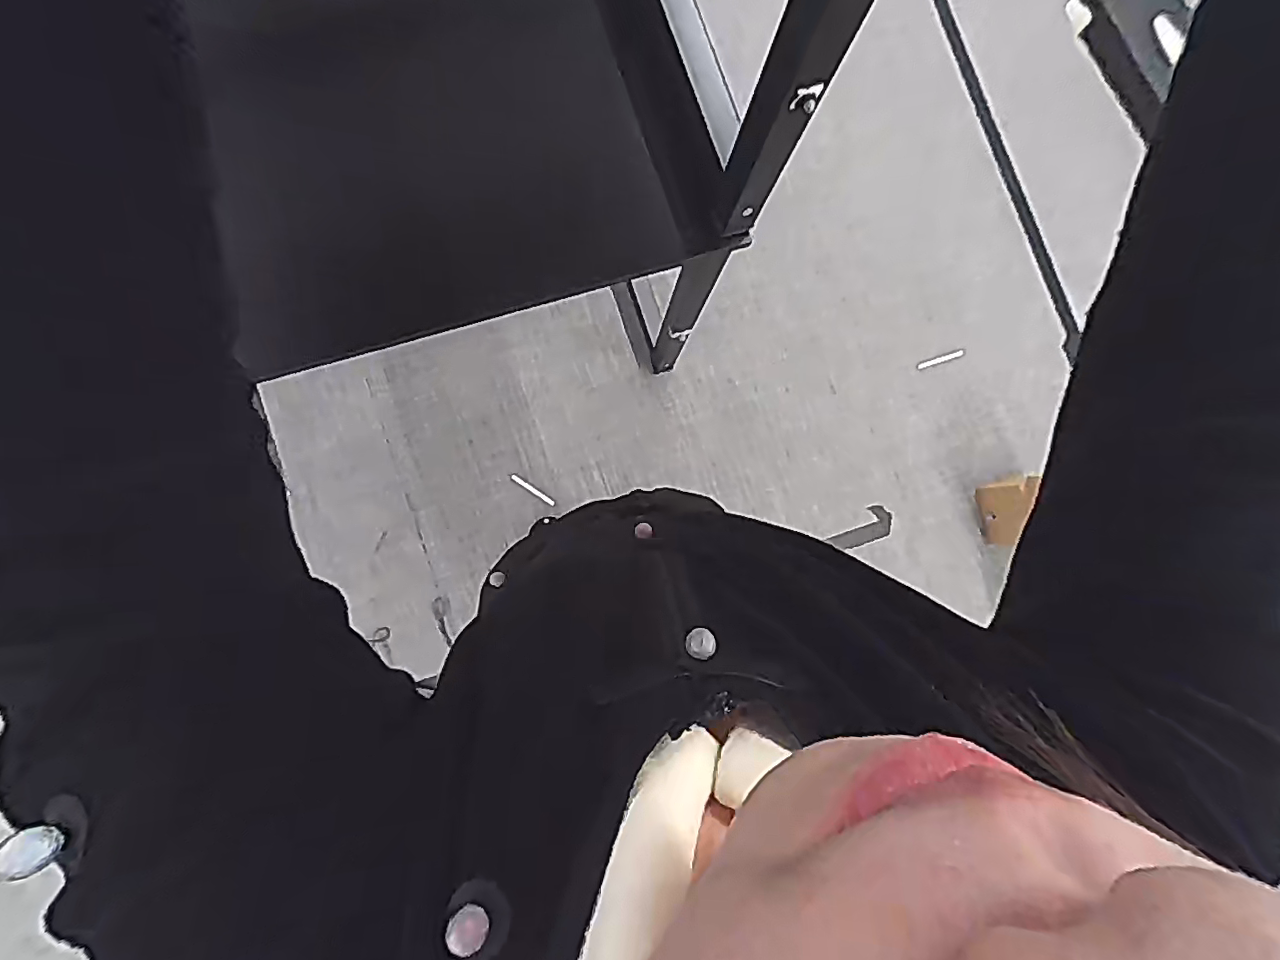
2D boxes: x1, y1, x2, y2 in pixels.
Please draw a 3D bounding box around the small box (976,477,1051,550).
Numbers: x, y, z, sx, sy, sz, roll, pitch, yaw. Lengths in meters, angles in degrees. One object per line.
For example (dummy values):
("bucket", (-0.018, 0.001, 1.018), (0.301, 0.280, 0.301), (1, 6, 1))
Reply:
("small box", (1.097, 0.090, 1.530), (0.168, 0.176, 0.179), (-13, 88, -7))
